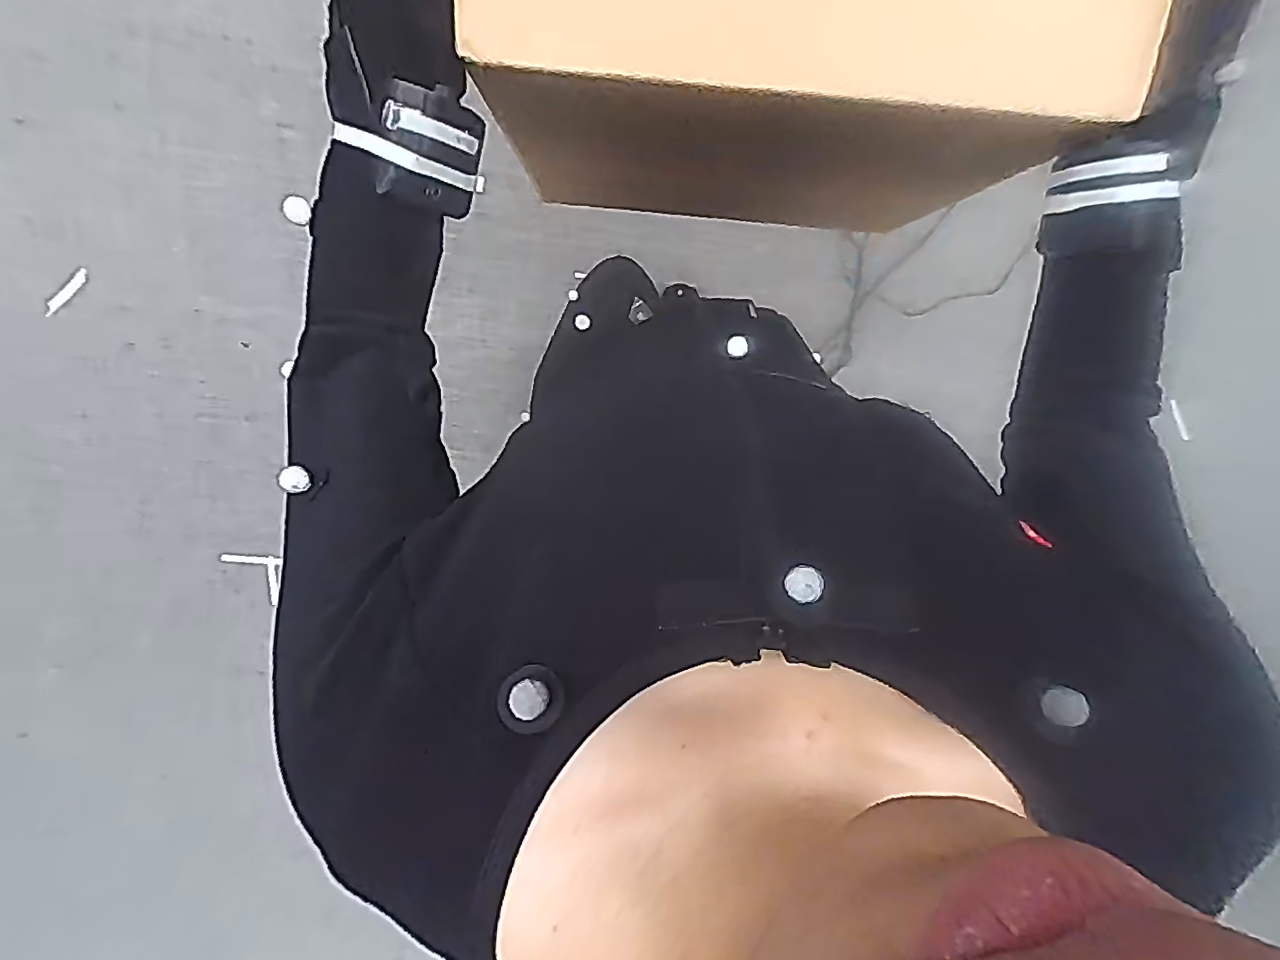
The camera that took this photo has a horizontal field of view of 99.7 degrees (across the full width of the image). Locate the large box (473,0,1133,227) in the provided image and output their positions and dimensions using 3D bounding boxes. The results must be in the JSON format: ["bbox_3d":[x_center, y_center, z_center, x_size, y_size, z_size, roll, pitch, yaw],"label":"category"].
[{"bbox_3d":[0.099,-0.419,0.446,0.408,0.320,0.320,3,103,-3],"label":"large box"}]
